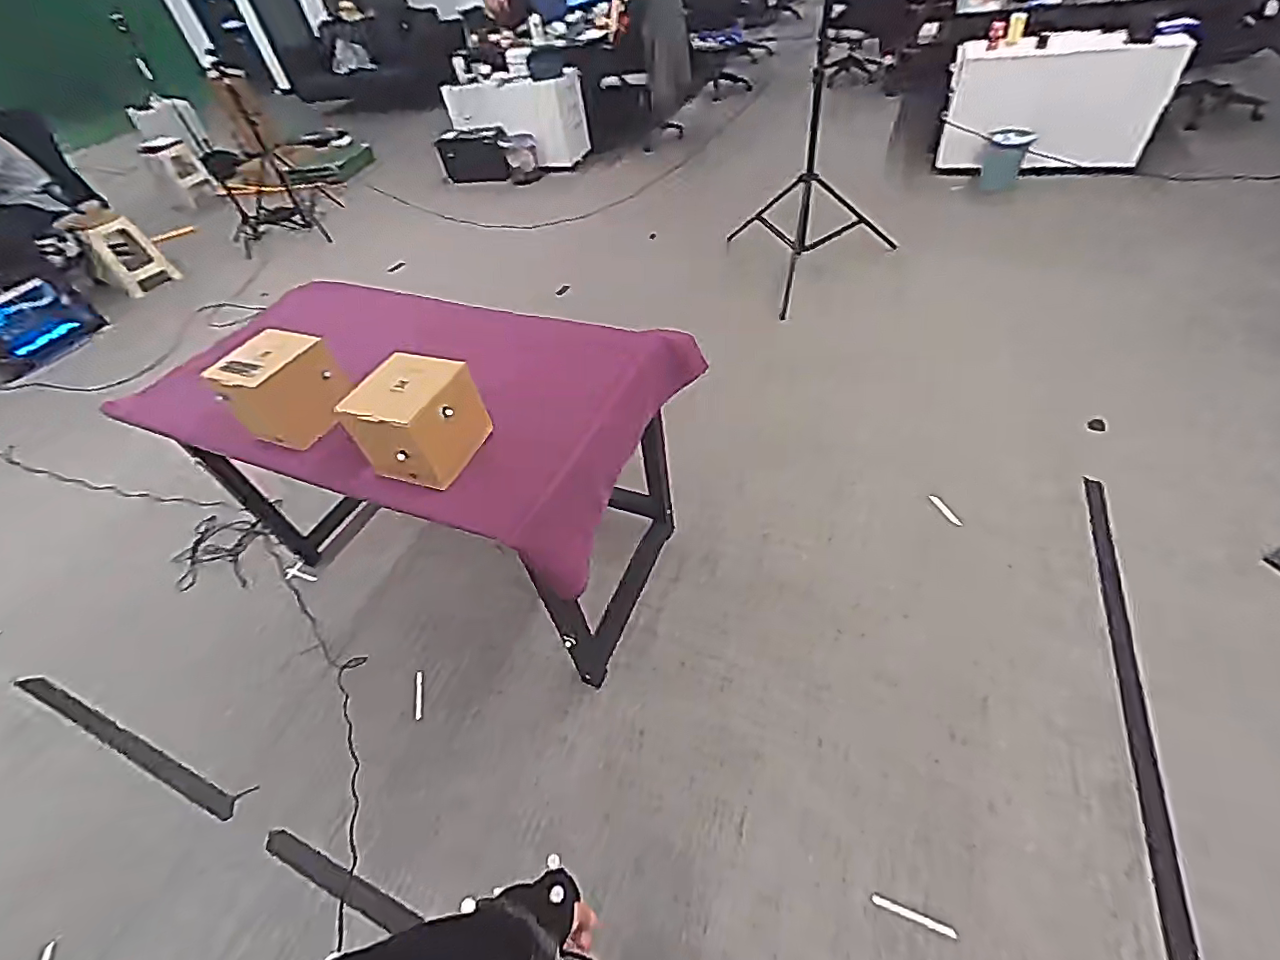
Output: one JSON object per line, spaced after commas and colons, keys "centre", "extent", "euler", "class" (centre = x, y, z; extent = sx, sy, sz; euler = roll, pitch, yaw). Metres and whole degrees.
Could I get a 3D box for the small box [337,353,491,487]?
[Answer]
{"centre": [-0.406, -0.111, 1.008], "extent": [0.168, 0.176, 0.179], "euler": [12, 50, 19], "class": "small box"}
